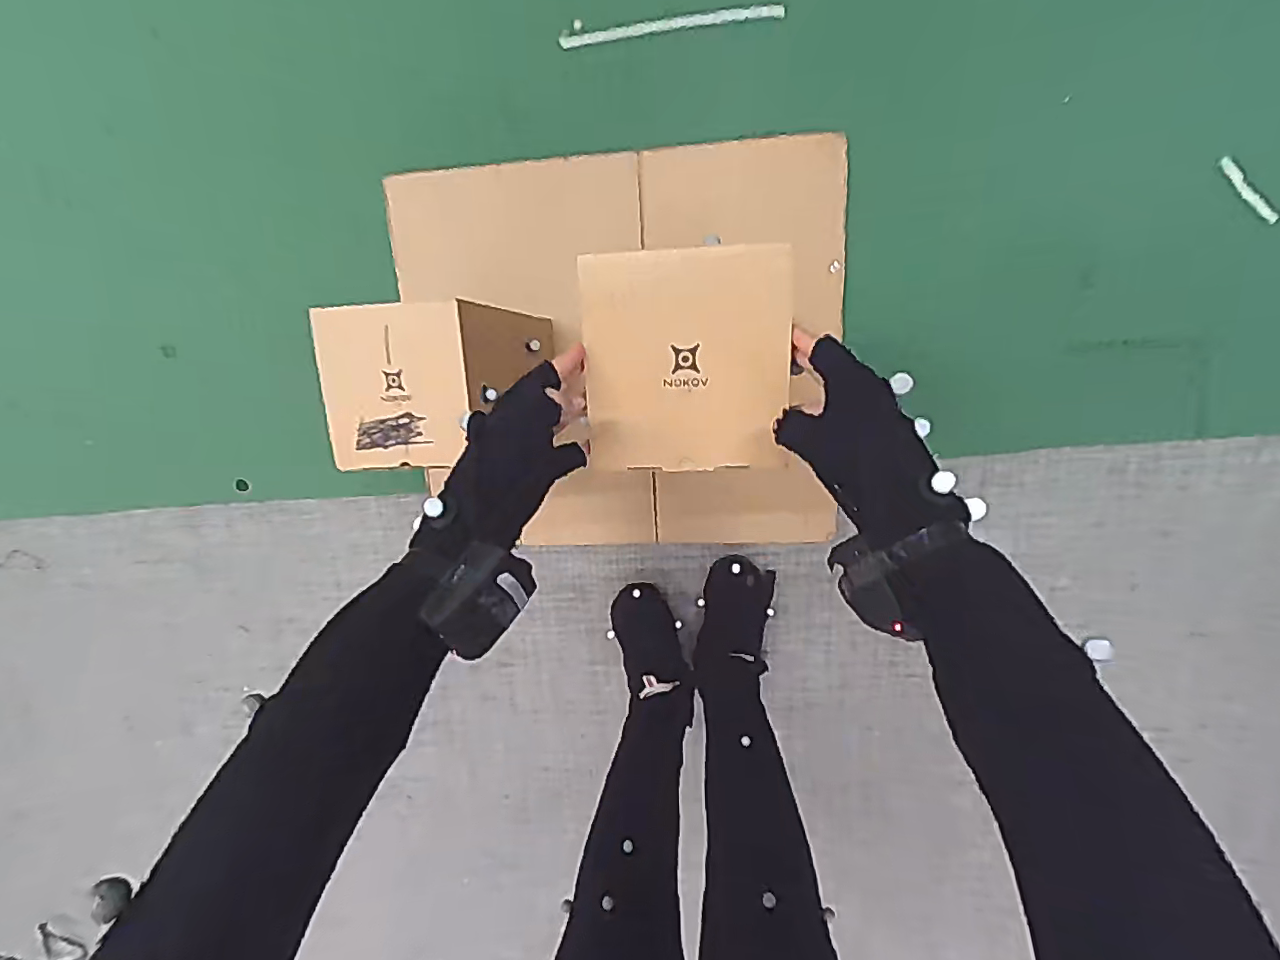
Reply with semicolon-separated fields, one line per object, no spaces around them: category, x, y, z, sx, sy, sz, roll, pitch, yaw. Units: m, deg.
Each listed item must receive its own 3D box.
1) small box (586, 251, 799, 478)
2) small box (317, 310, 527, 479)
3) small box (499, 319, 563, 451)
small box;0.049;-0.109;0.509;0.168;0.176;0.179;-1;108;7
small box;-0.244;-0.104;0.651;0.168;0.176;0.179;-1;101;8
small box;-0.222;-0.138;0.810;0.168;0.176;0.179;-3;102;9
